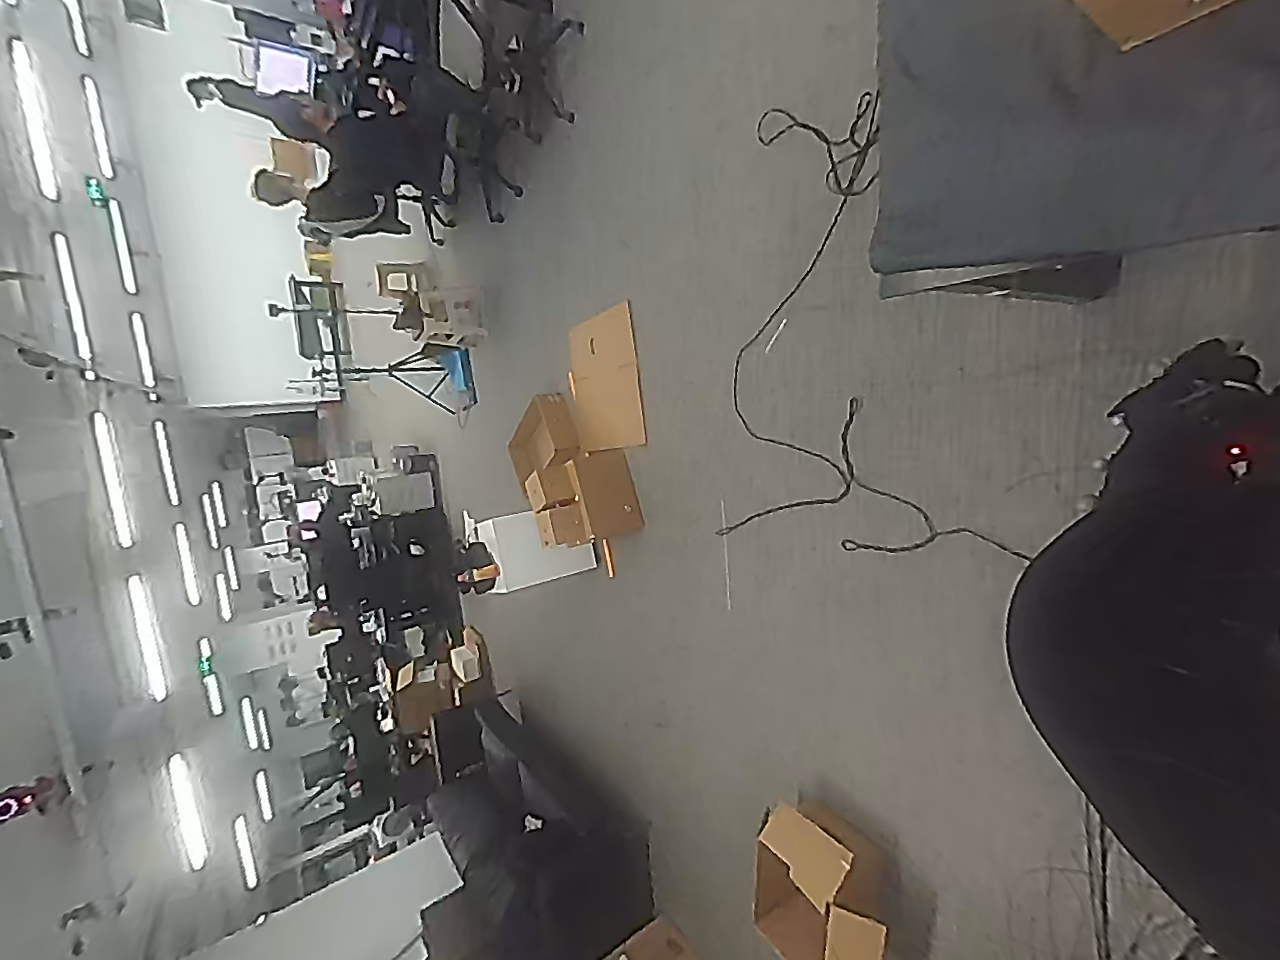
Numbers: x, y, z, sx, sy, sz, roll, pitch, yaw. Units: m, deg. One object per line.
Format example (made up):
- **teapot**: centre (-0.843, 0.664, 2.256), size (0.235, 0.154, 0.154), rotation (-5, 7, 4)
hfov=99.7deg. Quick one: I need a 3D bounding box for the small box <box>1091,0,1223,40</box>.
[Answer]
- **small box**: centre (0.484, -0.529, 0.454), size (0.168, 0.176, 0.179), rotation (6, 104, 54)
